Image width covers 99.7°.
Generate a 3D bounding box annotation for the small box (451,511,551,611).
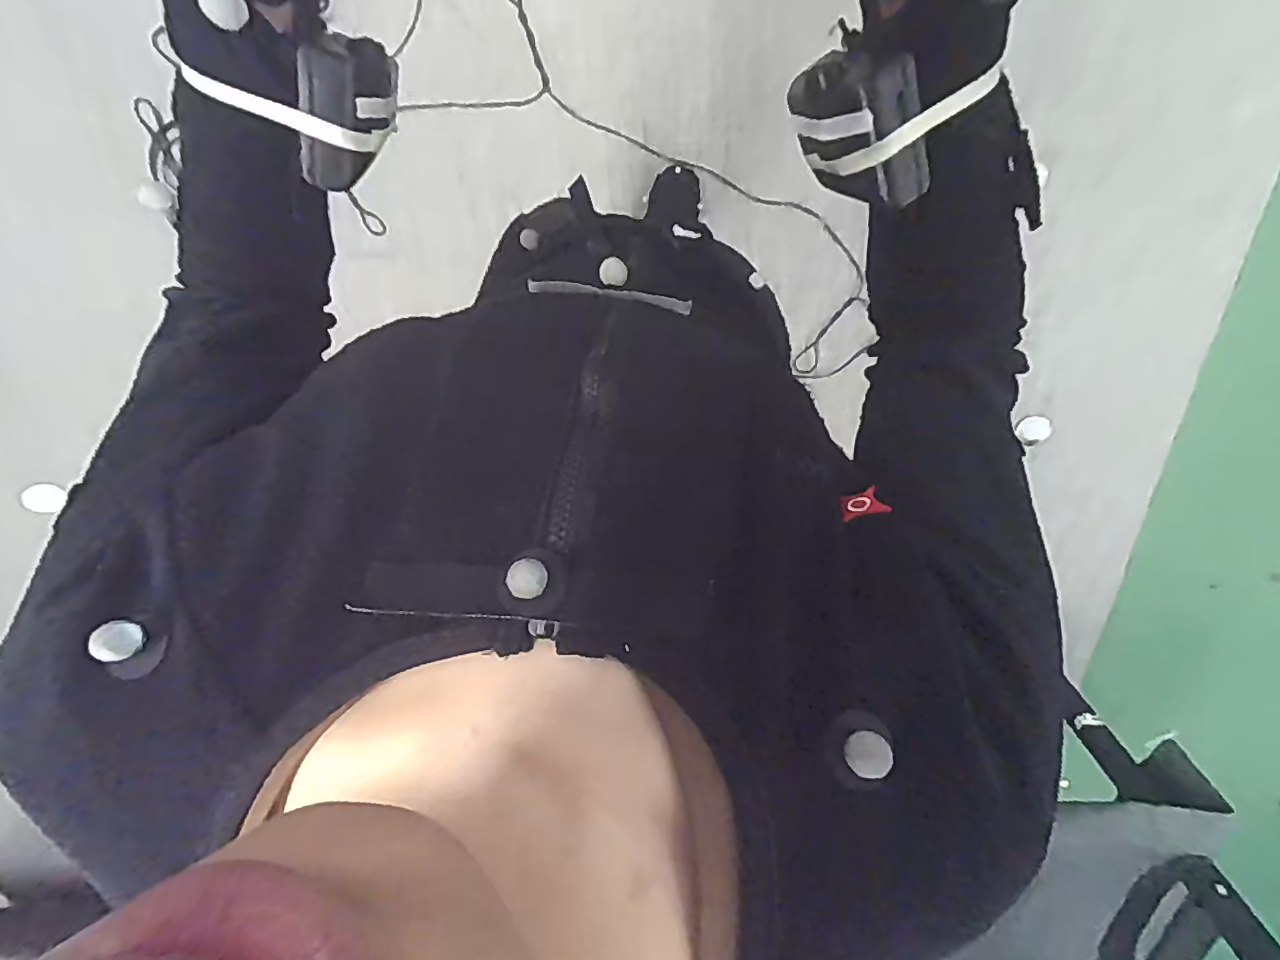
[{"bbox_3d":[-0.307,0.181,1.240,0.179,0.176,0.168,-1,117,4],"label":"small box"}]
